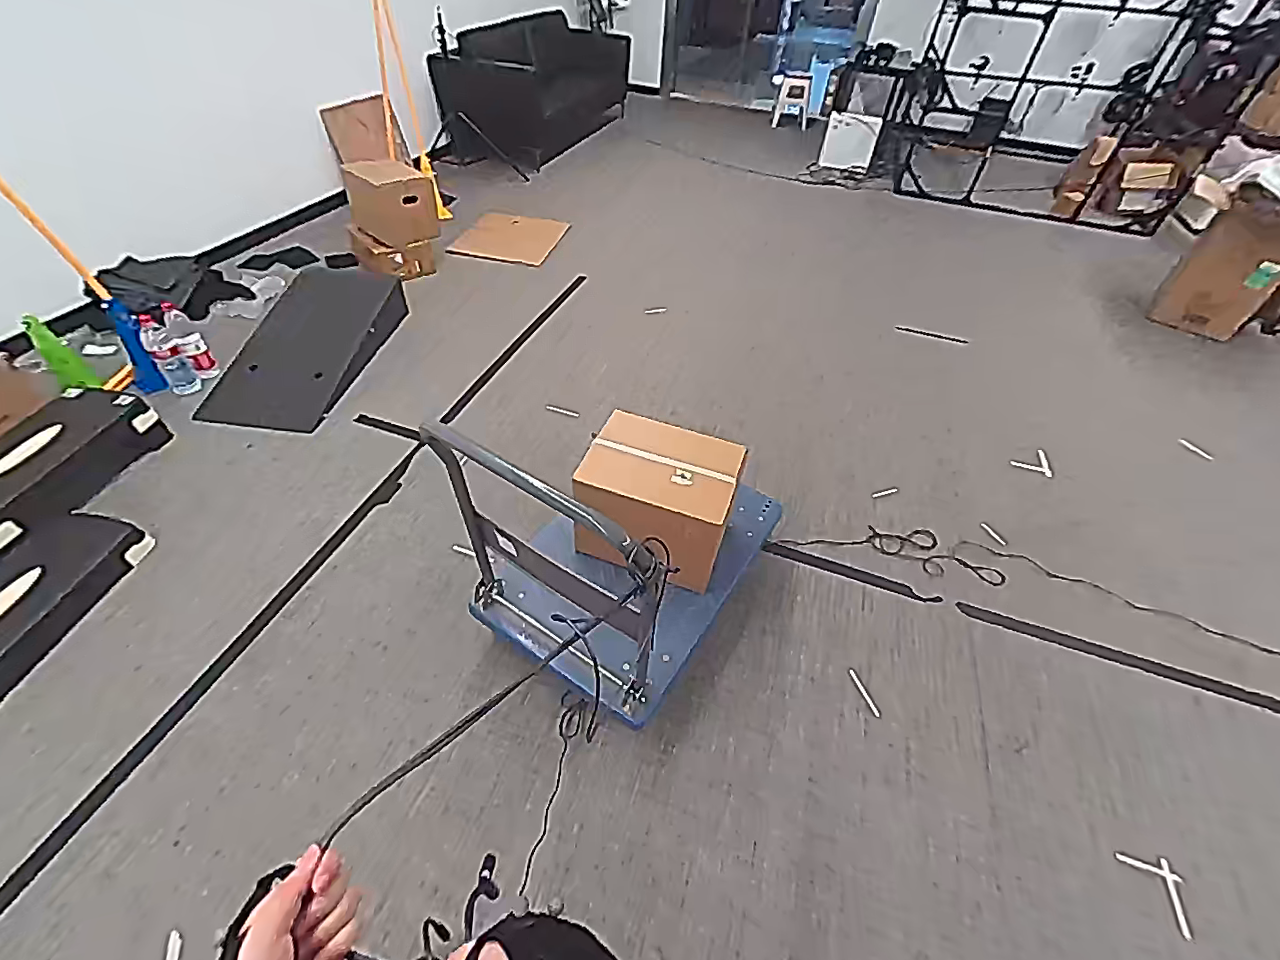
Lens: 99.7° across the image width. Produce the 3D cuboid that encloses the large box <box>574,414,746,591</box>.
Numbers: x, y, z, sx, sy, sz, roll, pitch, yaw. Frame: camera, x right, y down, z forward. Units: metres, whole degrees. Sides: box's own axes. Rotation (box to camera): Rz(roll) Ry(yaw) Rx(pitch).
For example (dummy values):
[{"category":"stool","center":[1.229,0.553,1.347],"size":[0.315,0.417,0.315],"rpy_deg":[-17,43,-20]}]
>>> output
[{"category":"large box","center":[0.050,0.062,1.557],"size":[0.408,0.320,0.320],"rpy_deg":[17,47,10]}]
